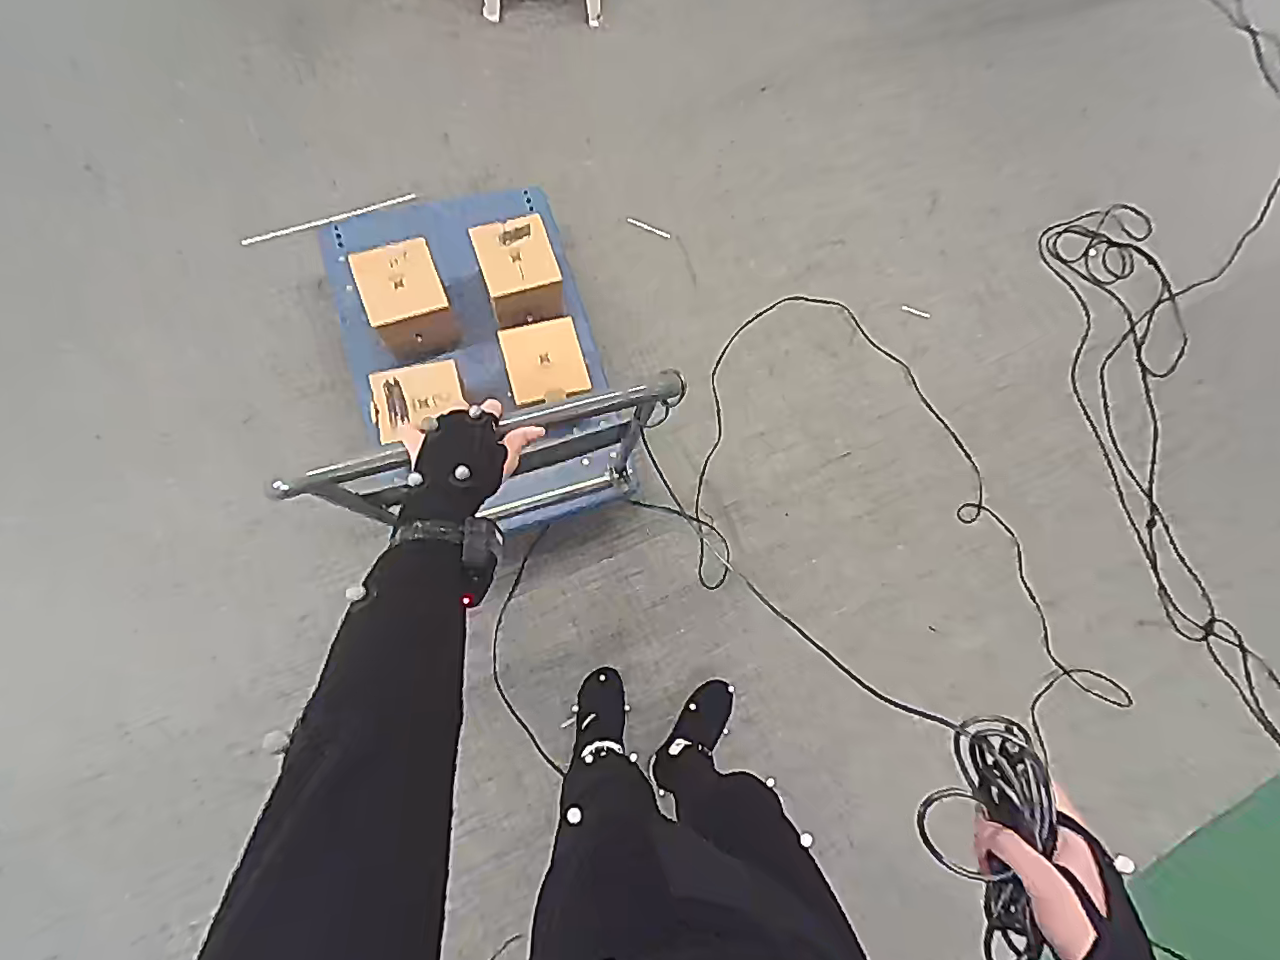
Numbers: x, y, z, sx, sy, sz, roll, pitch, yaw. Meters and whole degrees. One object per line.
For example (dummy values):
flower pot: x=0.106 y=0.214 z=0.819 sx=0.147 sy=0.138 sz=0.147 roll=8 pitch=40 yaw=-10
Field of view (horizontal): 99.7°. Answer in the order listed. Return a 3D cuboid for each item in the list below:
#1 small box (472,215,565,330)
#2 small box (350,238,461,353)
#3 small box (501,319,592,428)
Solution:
small box: x=-0.282 y=-0.483 z=1.278 sx=0.168 sy=0.176 sz=0.179 roll=-18 pitch=82 yaw=-10
small box: x=-0.523 y=-0.409 z=1.230 sx=0.168 sy=0.176 sz=0.179 roll=-19 pitch=81 yaw=-12
small box: x=-0.213 y=-0.239 z=1.237 sx=0.168 sy=0.176 sz=0.179 roll=-15 pitch=81 yaw=-11
